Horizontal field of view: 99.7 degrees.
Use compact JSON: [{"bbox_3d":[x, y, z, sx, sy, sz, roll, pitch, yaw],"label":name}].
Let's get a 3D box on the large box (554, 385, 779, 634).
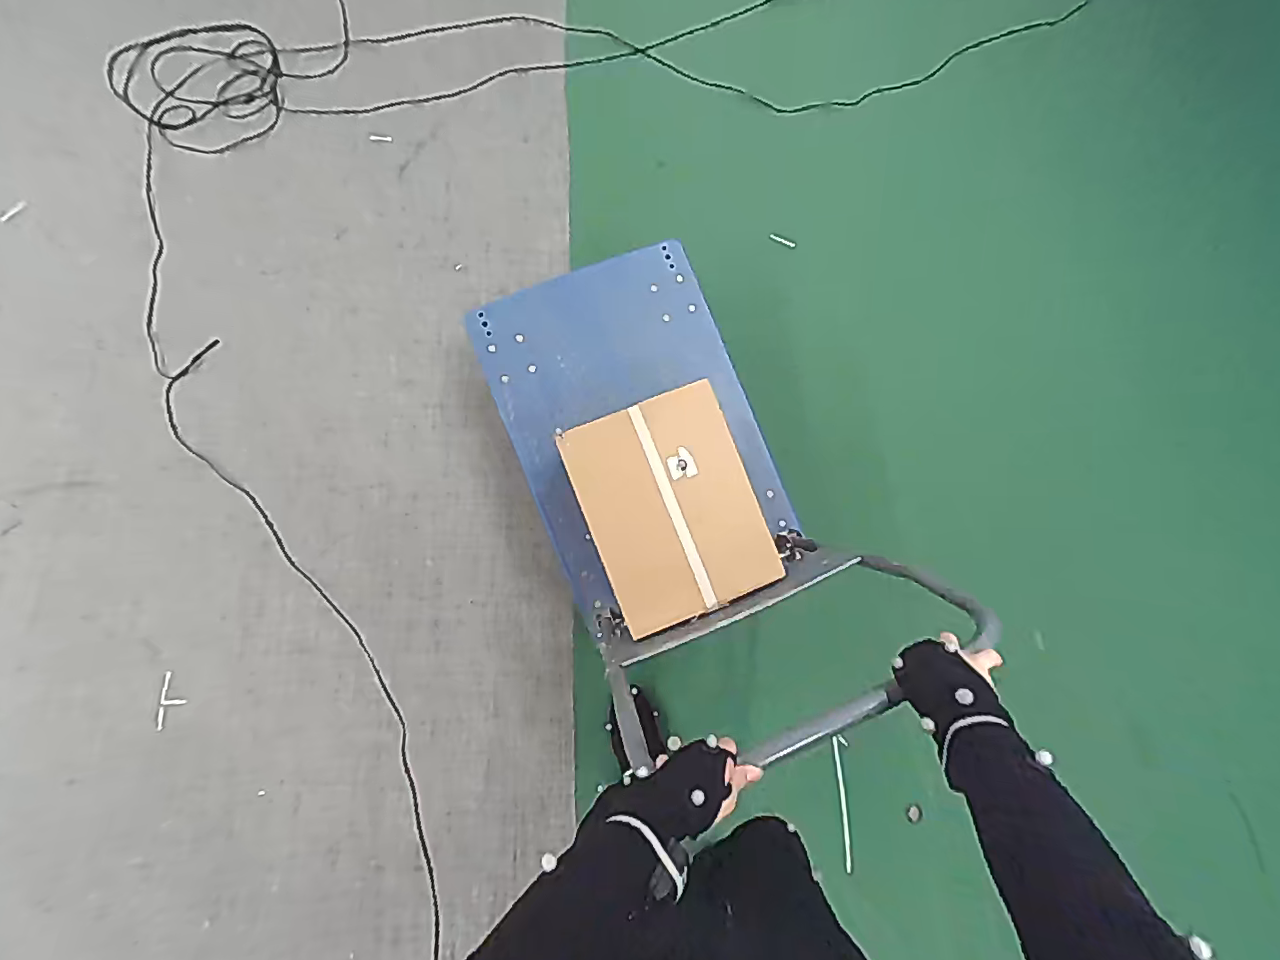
[{"bbox_3d":[0.044,0.064,1.176,0.320,0.320,0.408,-22,87,-6],"label":"large box"}]
